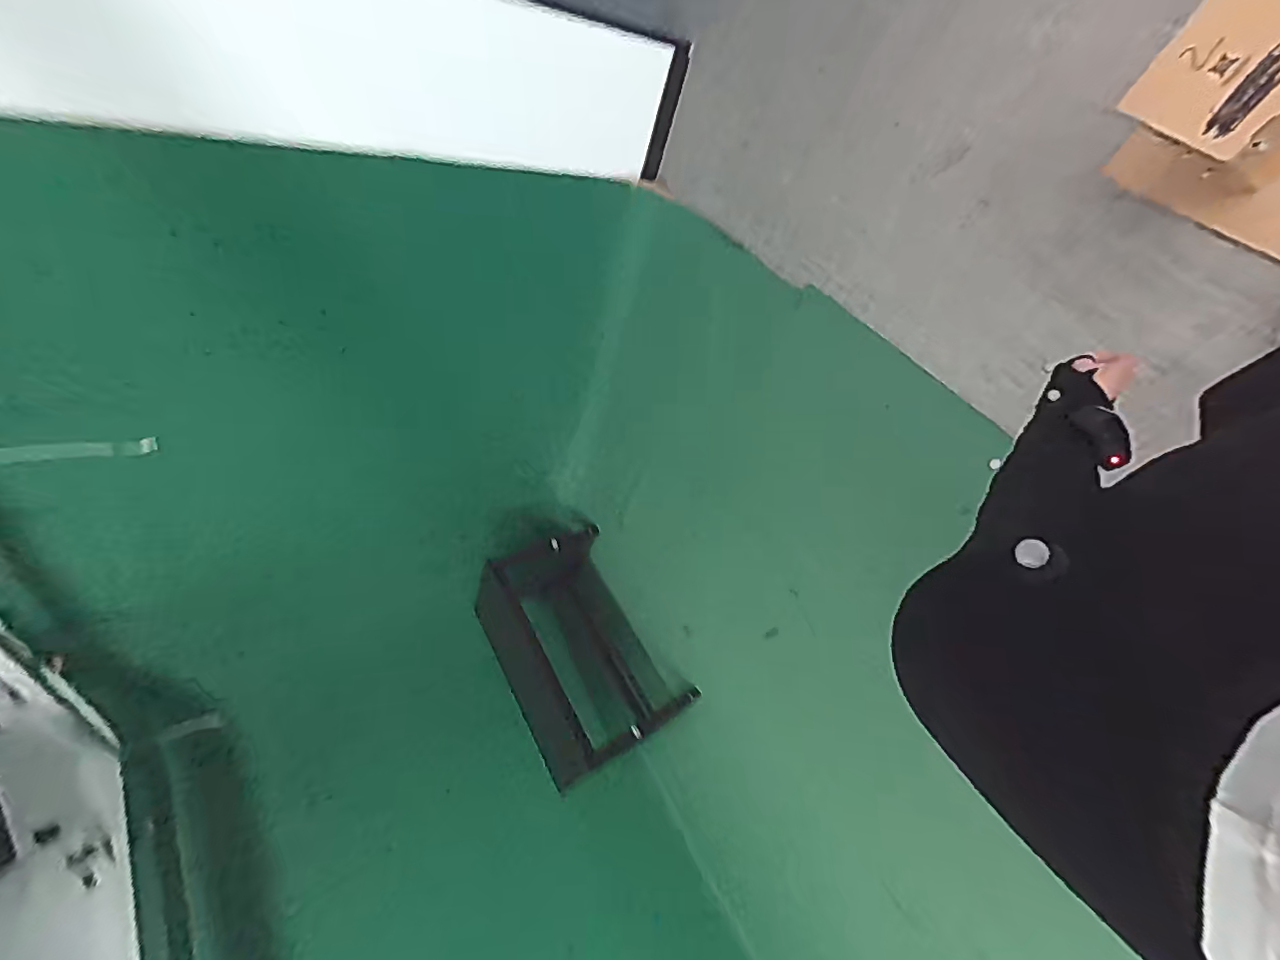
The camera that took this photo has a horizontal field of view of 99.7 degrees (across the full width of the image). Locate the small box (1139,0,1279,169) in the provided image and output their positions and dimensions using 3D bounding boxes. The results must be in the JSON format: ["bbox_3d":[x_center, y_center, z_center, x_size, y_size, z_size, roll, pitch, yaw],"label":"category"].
[{"bbox_3d":[0.976,-0.630,0.870,0.168,0.176,0.179,52,141,27],"label":"small box"}]

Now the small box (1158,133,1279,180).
[{"bbox_3d":[1.101,-0.664,0.966,0.168,0.176,0.179,53,141,27],"label":"small box"}]
